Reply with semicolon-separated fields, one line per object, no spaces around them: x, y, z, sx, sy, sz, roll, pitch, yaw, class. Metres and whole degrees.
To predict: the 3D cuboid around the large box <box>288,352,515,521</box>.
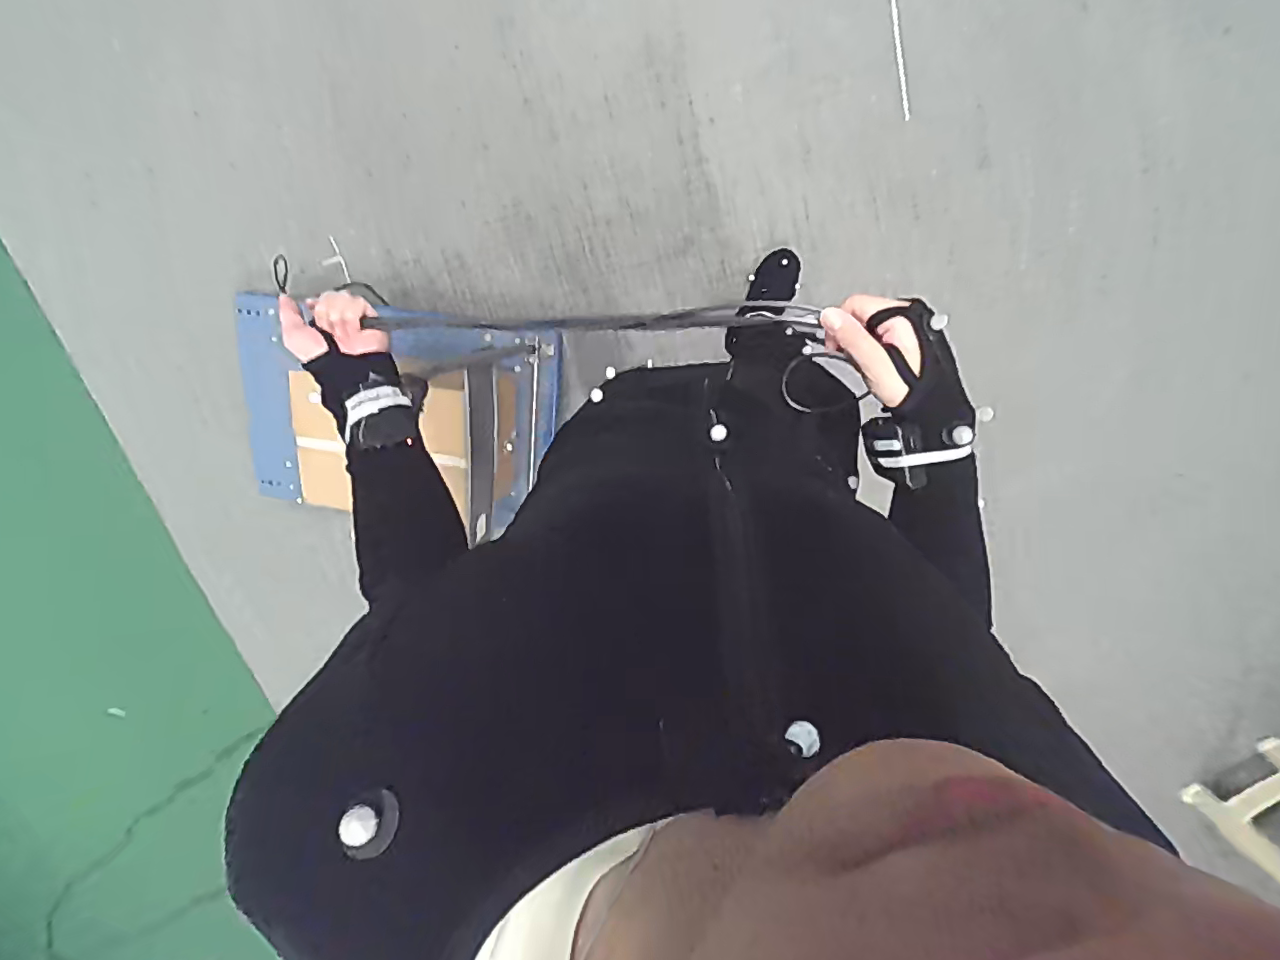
-0.542;-0.121;1.311;0.408;0.320;0.320;8;109;4;large box
